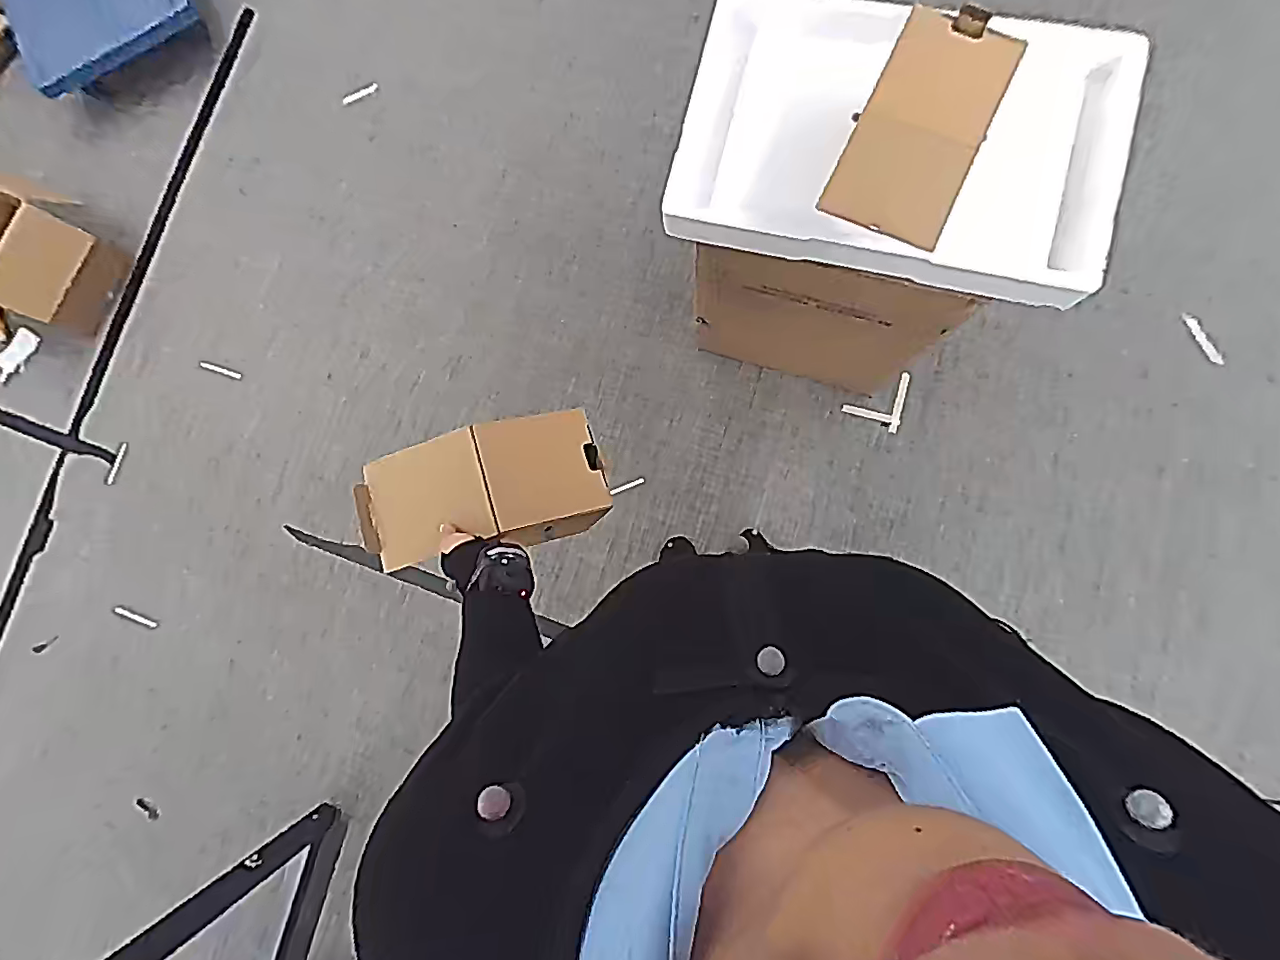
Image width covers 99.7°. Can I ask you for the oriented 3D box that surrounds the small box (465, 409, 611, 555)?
[{"bbox_3d":[-0.168,0.009,0.844,0.179,0.176,0.168,-13,77,-24],"label":"small box"}]
